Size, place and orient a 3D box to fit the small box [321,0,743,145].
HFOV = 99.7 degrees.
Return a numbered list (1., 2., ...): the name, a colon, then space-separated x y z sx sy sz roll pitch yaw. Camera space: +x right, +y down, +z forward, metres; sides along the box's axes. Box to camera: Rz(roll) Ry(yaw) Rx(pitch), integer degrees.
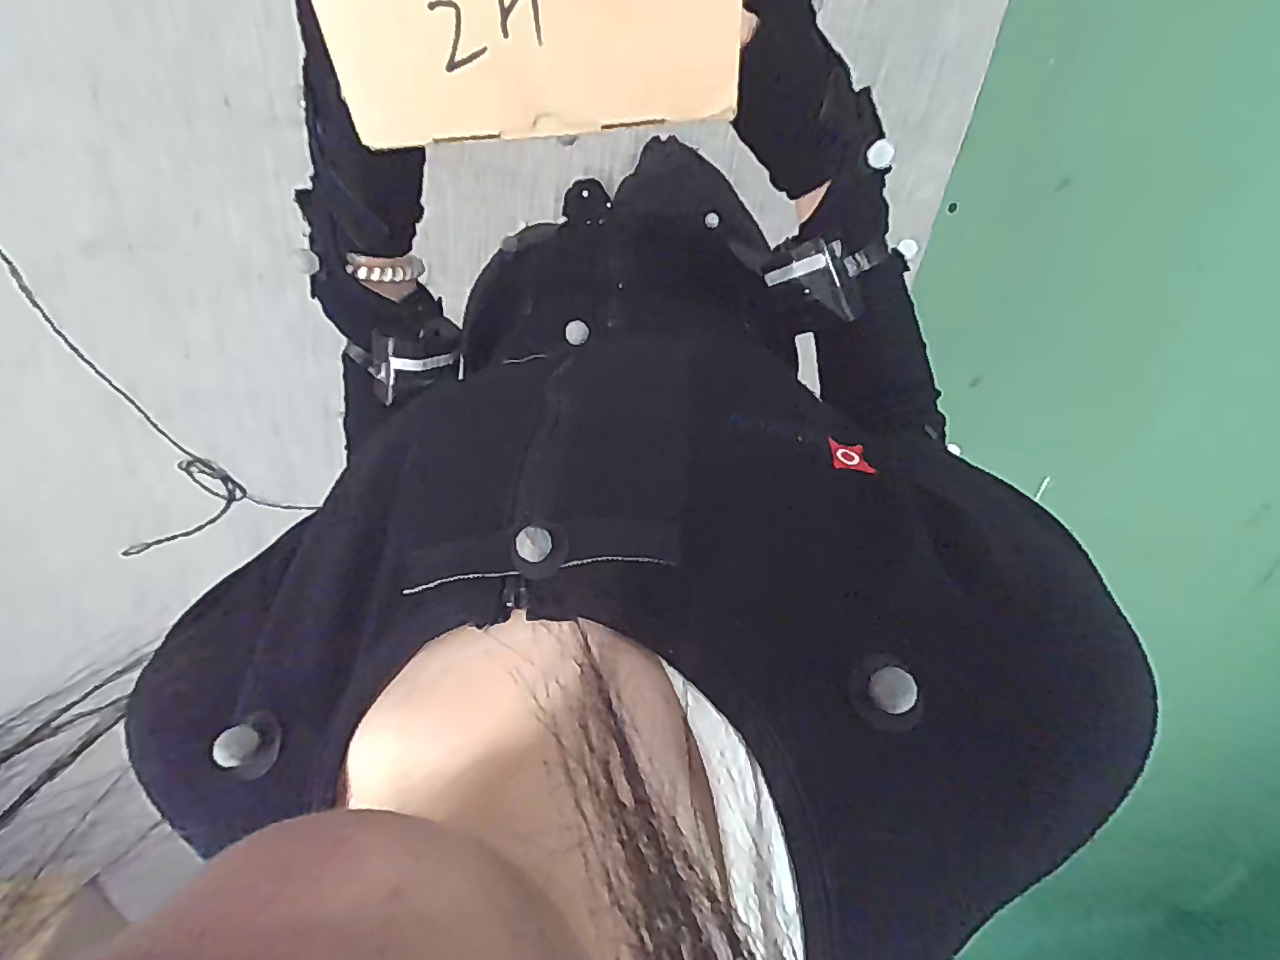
1. small box: -0.048 -0.270 0.246 0.168 0.176 0.179 -5 129 1
